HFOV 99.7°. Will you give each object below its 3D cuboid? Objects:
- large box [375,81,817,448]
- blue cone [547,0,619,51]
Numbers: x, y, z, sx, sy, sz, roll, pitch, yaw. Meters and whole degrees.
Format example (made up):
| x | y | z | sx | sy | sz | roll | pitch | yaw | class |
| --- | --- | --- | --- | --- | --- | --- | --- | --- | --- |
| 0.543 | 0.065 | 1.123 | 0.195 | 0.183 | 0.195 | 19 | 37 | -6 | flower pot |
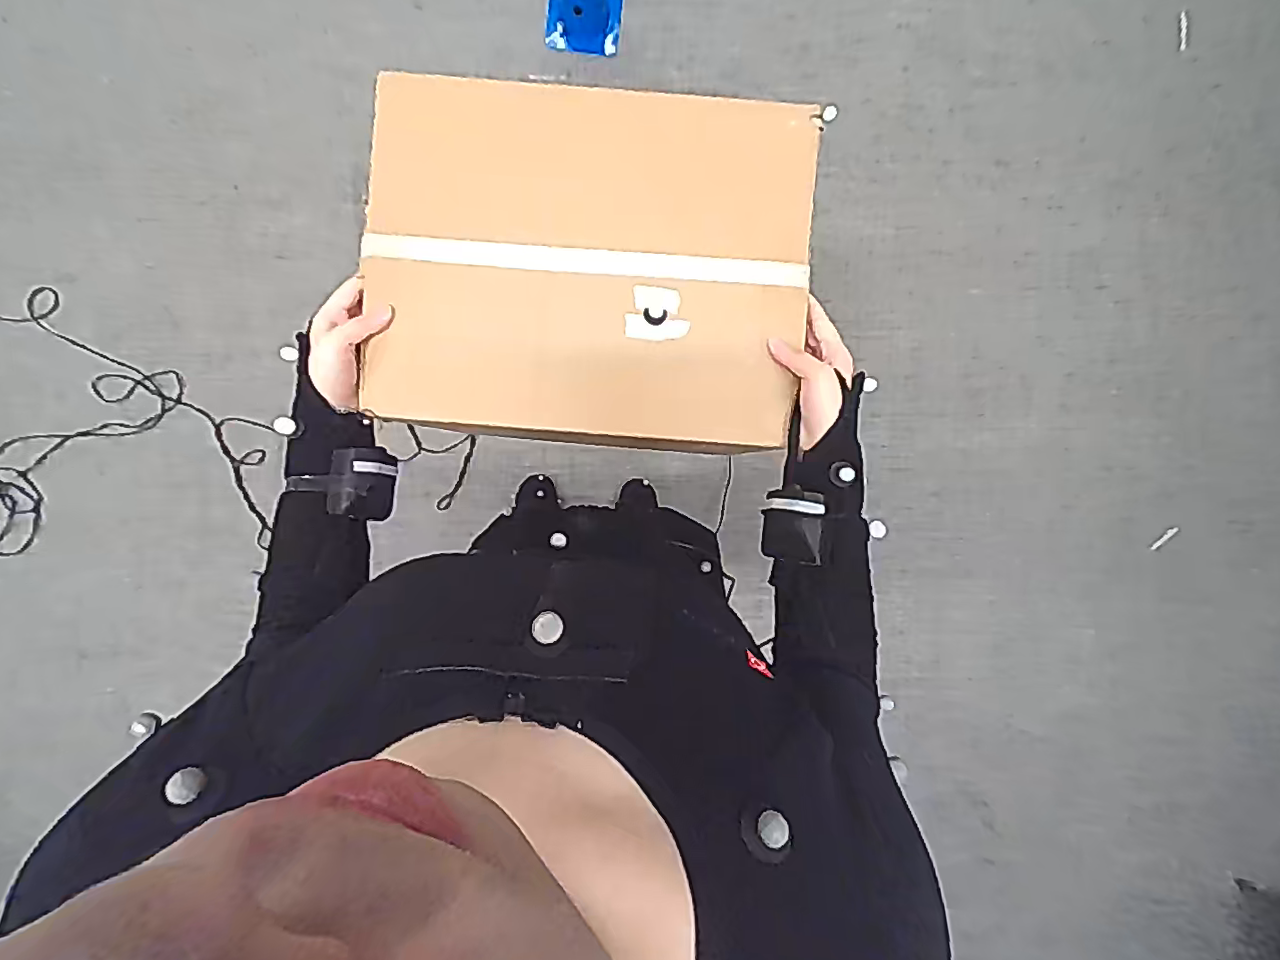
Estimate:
| x | y | z | sx | sy | sz | roll | pitch | yaw | class |
| --- | --- | --- | --- | --- | --- | --- | --- | --- | --- |
| -0.046 | -0.207 | 0.652 | 0.408 | 0.320 | 0.320 | 4 | 92 | -1 | large box |
| -0.156 | -1.282 | 1.325 | 0.193 | 0.380 | 0.192 | 8 | 90 | -1 | blue cone |
